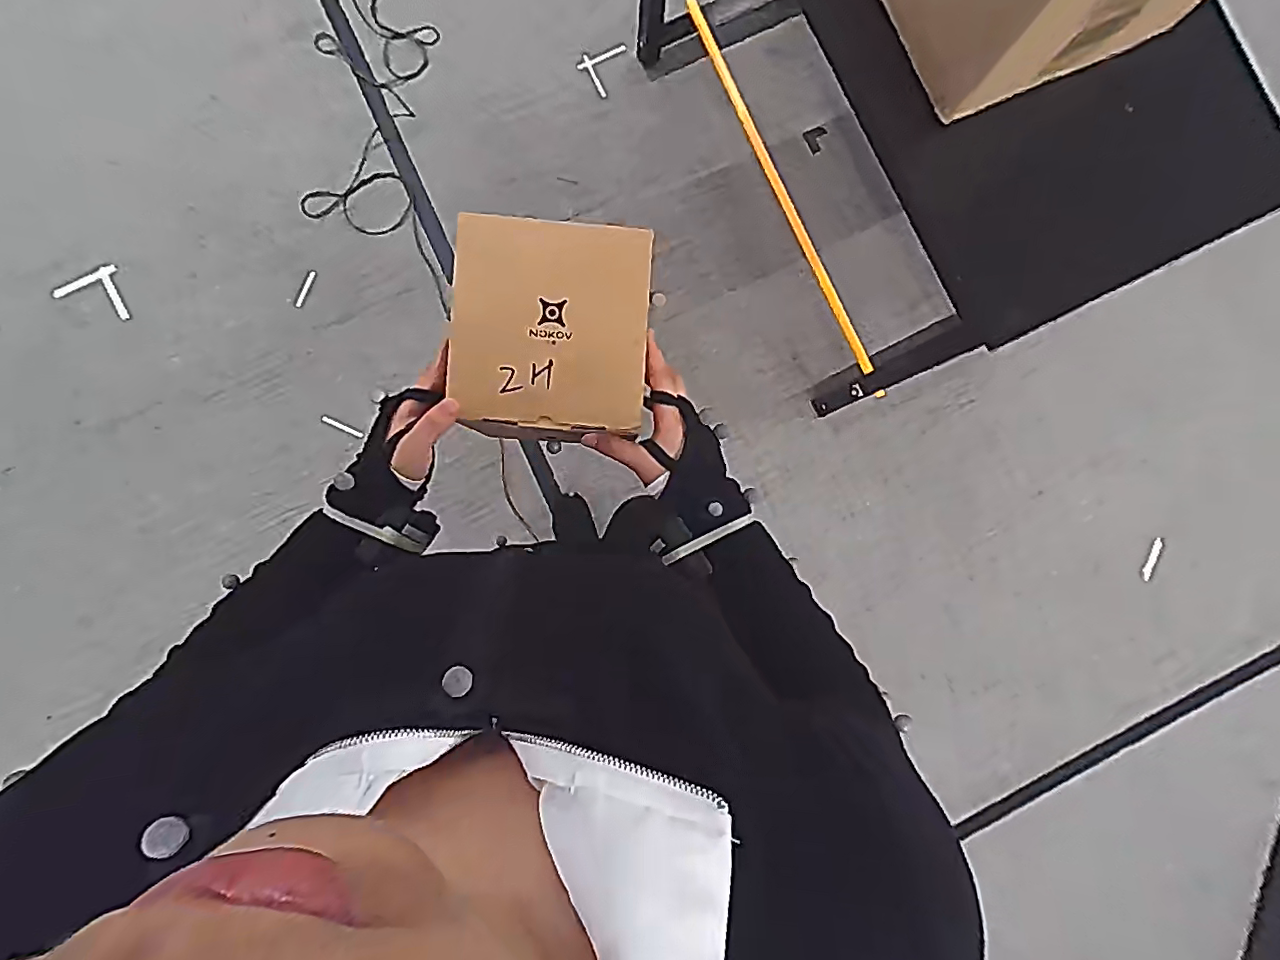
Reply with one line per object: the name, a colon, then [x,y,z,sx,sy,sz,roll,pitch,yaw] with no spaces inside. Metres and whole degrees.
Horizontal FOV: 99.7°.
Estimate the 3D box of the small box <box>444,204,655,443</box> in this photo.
small box: [-0.080,-0.135,0.530,0.168,0.176,0.179,4,89,-3]
